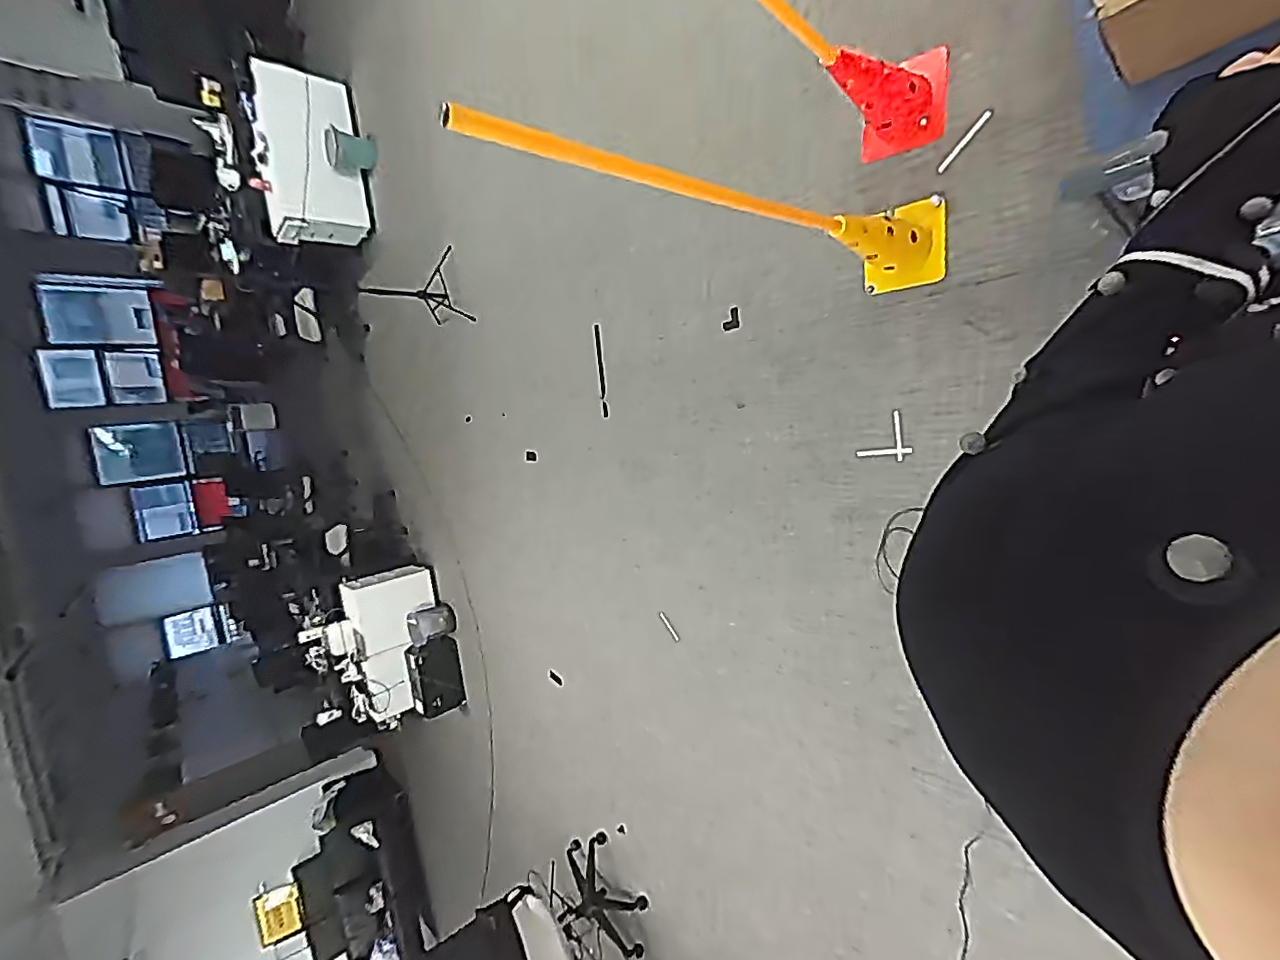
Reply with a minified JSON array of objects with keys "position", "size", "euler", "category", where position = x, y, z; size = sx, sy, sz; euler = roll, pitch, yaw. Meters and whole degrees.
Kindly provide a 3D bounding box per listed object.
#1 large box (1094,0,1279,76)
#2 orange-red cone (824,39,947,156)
[{"position":[0.824,-0.813,0.661],"size":[0.408,0.320,0.320],"euler":[-7,95,50],"category":"large box"},{"position":[0.513,-0.895,1.206],"size":[0.198,0.360,0.199],"euler":[10,105,45],"category":"orange-red cone"}]
